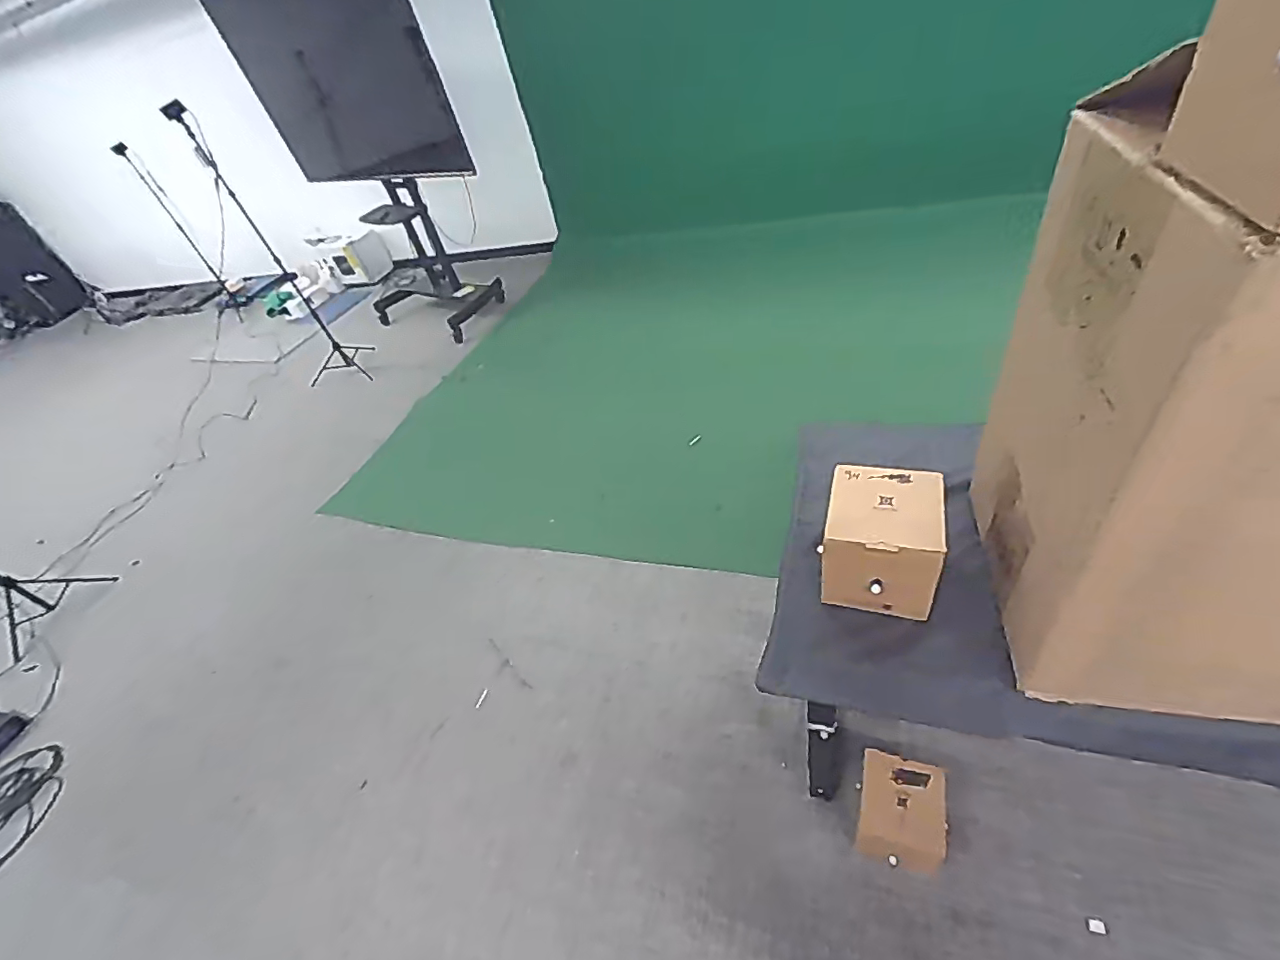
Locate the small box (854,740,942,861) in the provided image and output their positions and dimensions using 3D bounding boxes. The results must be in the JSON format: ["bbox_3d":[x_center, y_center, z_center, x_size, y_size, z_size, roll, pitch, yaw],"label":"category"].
[{"bbox_3d":[0.594,0.740,1.250,0.168,0.176,0.179,6,48,24],"label":"small box"}]

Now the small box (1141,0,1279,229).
[{"bbox_3d":[0.463,-0.267,0.328,0.168,0.176,0.179,0,44,19],"label":"small box"}]
